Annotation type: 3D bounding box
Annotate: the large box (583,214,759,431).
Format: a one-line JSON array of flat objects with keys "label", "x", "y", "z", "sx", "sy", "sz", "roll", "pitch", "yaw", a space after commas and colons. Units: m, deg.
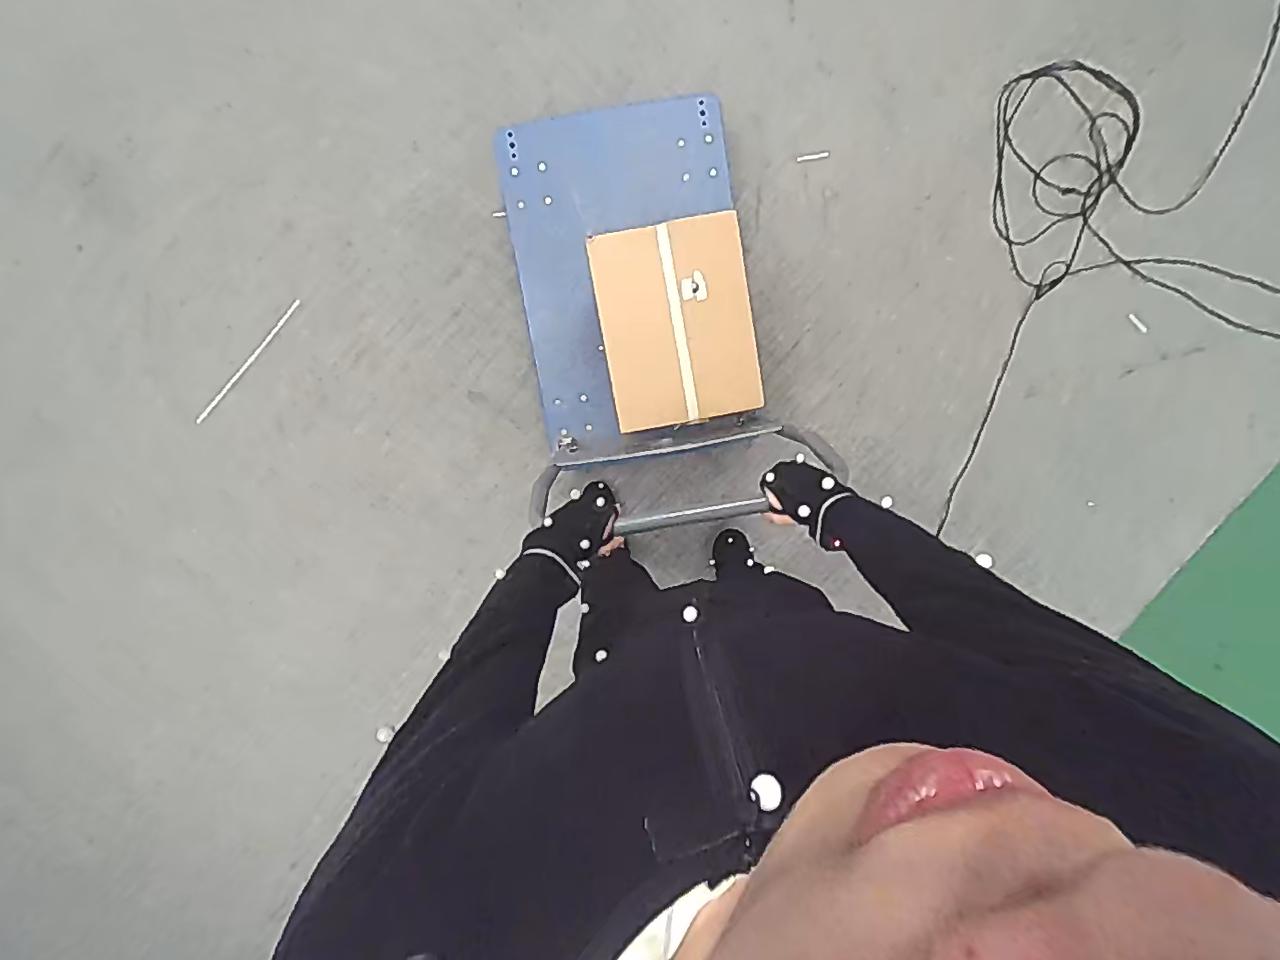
[{"label": "large box", "x": 0.068, "y": -0.346, "z": 1.285, "sx": 0.320, "sy": 0.320, "sz": 0.408, "roll": -11, "pitch": 98, "yaw": 0}]
